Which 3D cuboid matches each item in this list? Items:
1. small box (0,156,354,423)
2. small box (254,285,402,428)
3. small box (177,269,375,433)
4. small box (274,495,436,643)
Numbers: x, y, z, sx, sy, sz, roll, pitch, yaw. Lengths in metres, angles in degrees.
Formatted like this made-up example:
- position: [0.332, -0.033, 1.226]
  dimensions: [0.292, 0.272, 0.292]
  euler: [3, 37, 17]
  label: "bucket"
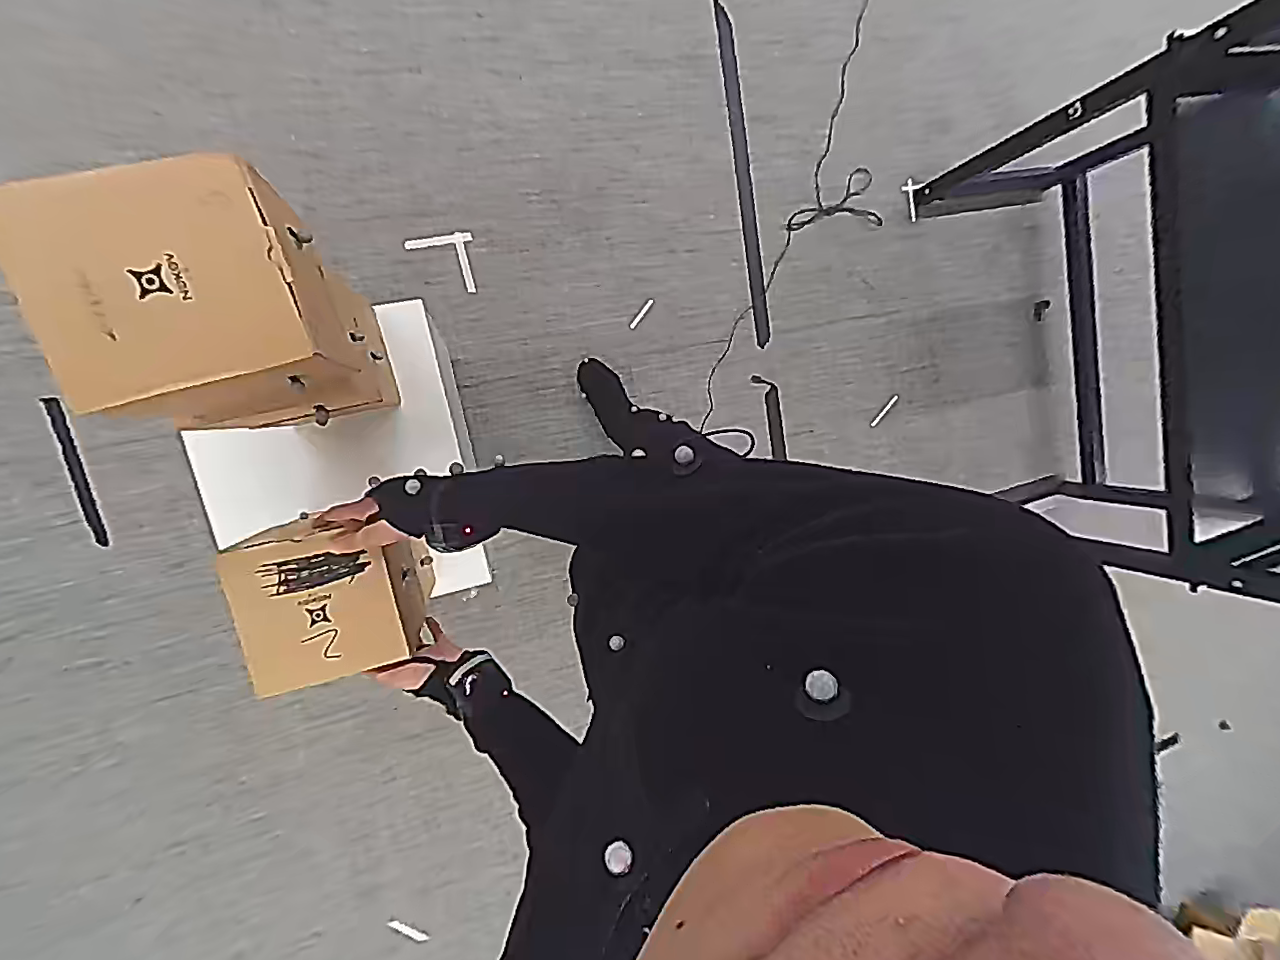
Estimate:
- position: [-0.383, -0.156, 0.489]
  dimensions: [0.179, 0.176, 0.168]
  euler: [-20, 100, -12]
  label: "small box"
- position: [-0.477, -0.174, 0.802]
  dimensions: [0.179, 0.176, 0.168]
  euler: [-15, 101, -13]
  label: "small box"
- position: [-0.434, -0.157, 0.644]
  dimensions: [0.179, 0.176, 0.168]
  euler: [-15, 100, -13]
  label: "small box"
- position: [-0.429, 0.127, 0.850]
  dimensions: [0.179, 0.176, 0.168]
  euler: [-13, 98, -13]
  label: "small box"
